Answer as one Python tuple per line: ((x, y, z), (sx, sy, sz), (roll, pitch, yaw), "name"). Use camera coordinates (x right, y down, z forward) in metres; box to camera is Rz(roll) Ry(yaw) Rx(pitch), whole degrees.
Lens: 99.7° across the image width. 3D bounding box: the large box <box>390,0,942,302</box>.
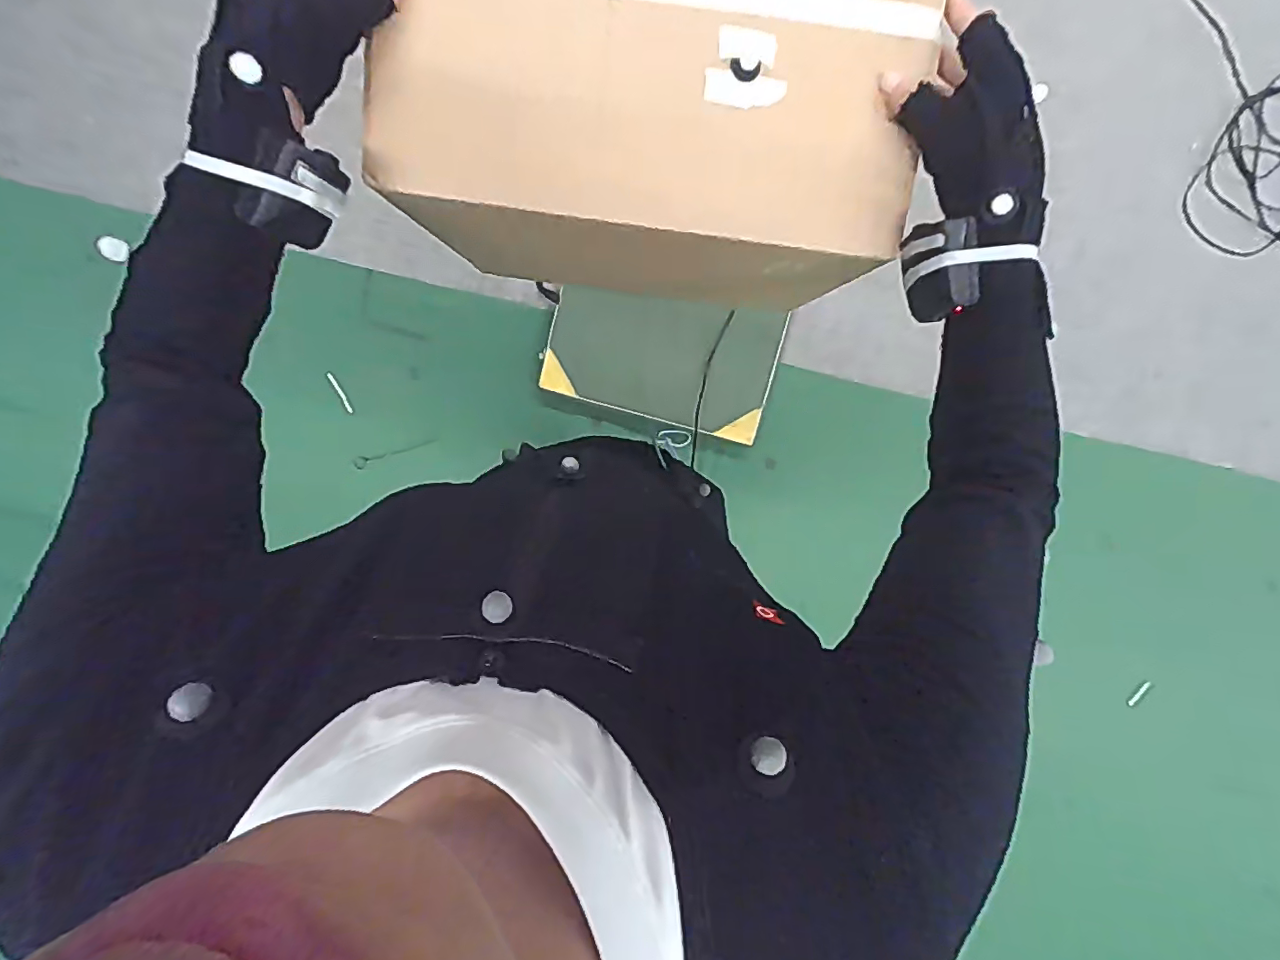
((0.017, -0.378, 0.538), (0.408, 0.320, 0.320), (6, 100, -3), "large box")
